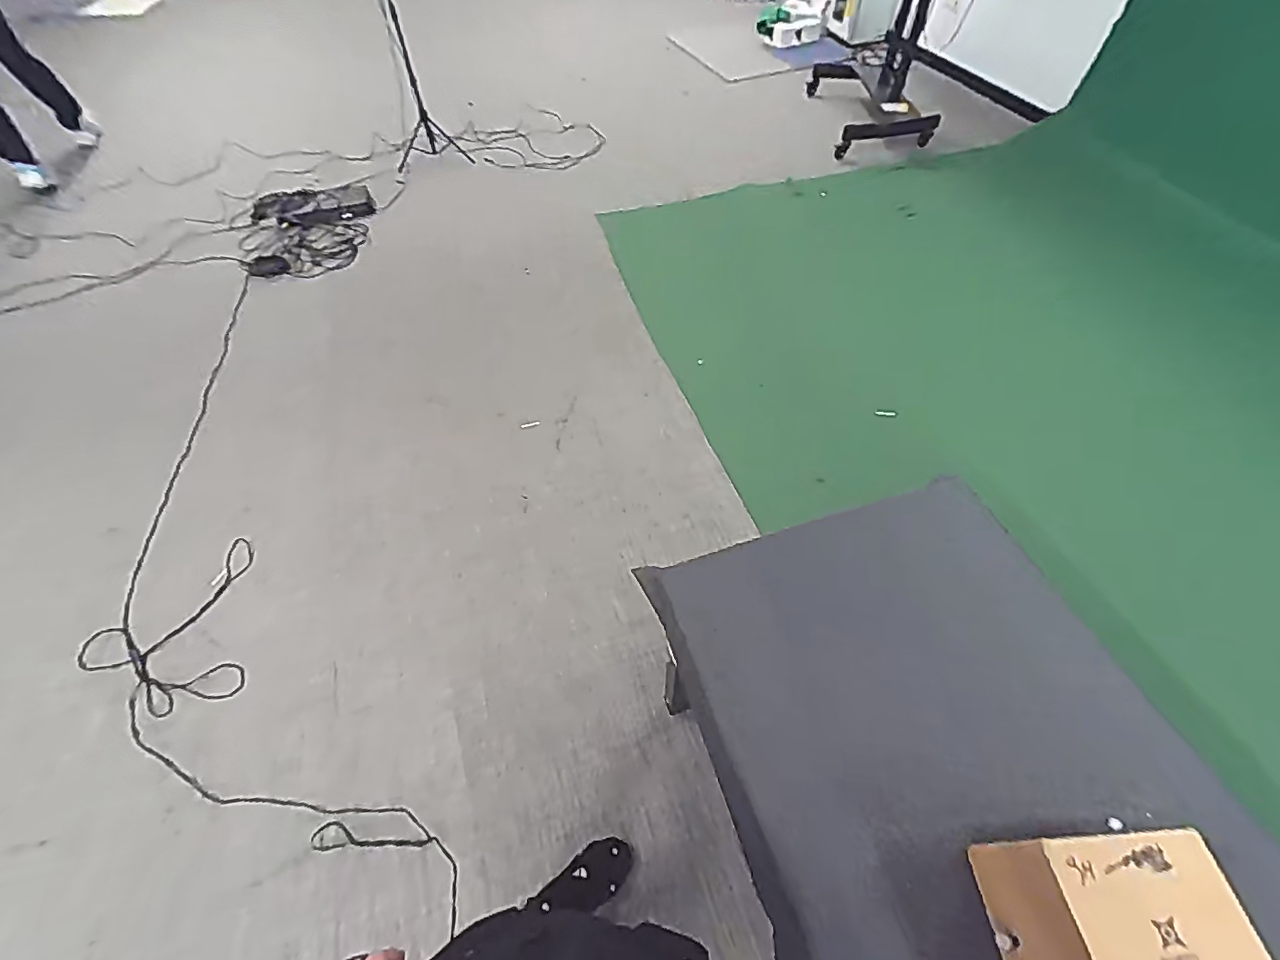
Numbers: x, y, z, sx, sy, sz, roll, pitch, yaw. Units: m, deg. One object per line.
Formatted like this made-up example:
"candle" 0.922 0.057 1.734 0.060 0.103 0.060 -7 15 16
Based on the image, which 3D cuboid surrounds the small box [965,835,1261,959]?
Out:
"small box" 0.483 0.479 0.561 0.168 0.176 0.179 -2 54 -2
